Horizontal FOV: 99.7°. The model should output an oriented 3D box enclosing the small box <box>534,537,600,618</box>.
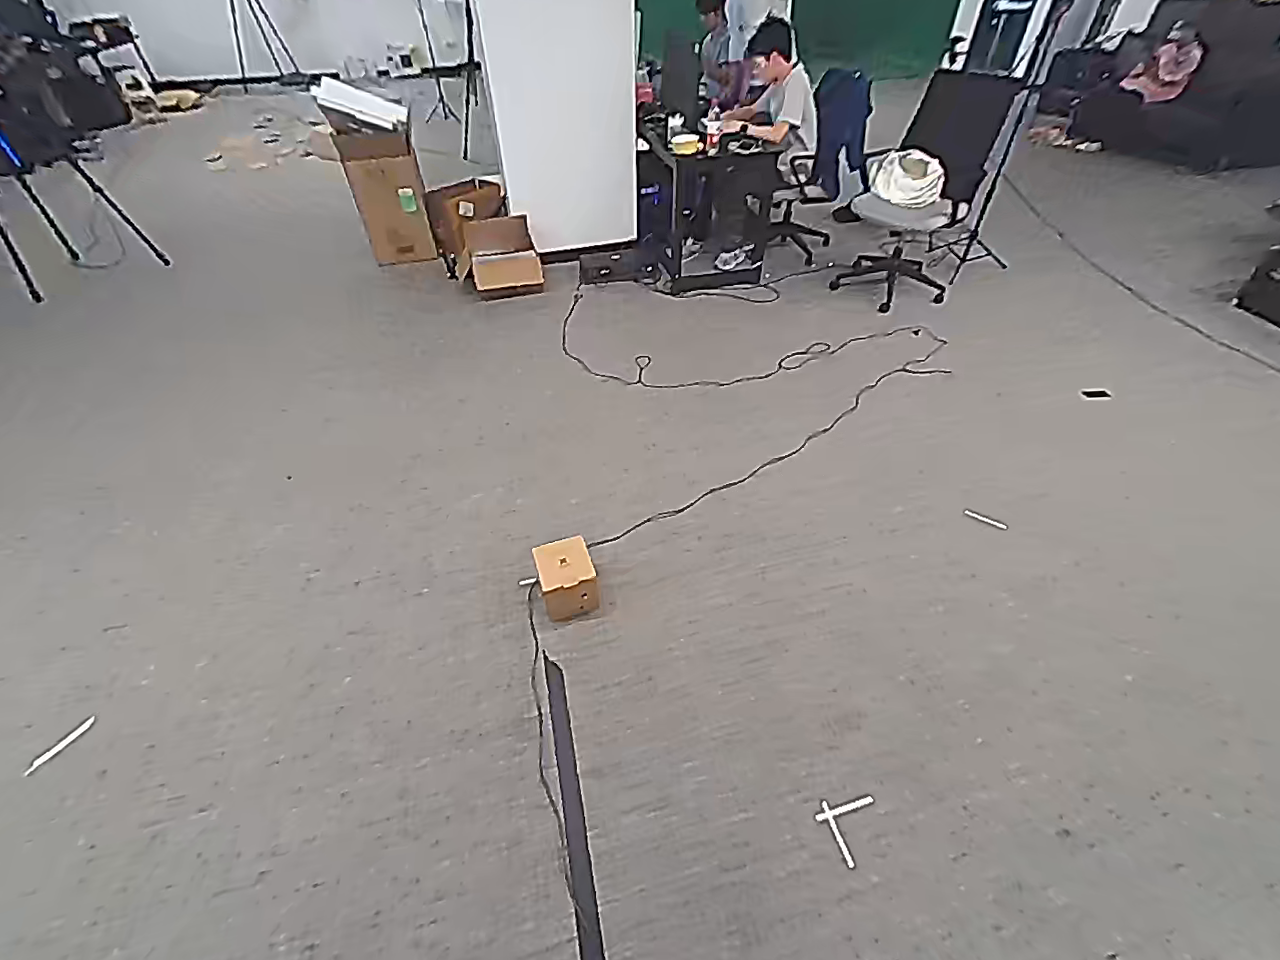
[{"bbox_3d":[-0.228,0.315,1.713,0.168,0.176,0.179,-14,45,-13],"label":"small box"}]
